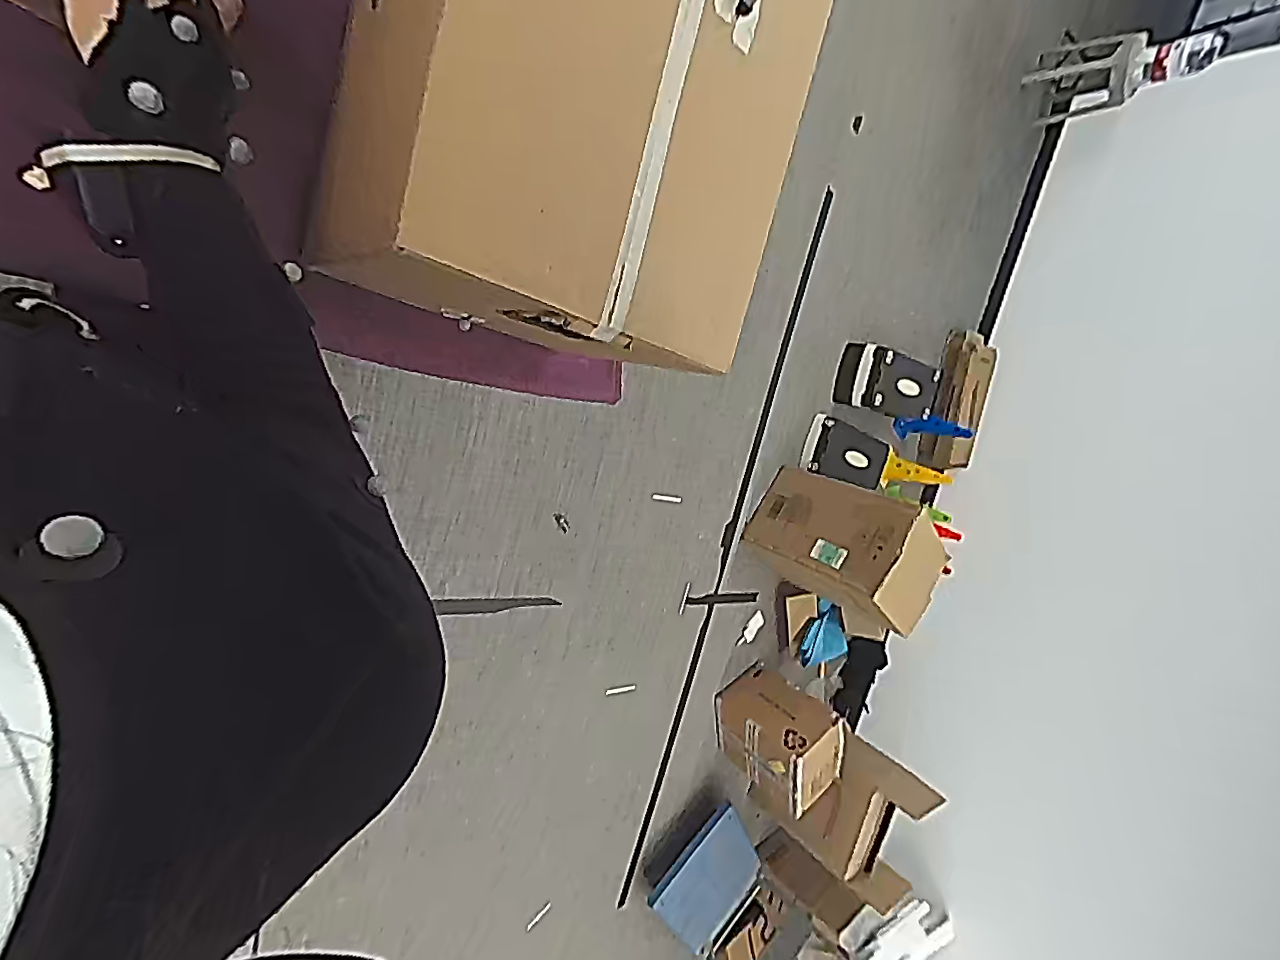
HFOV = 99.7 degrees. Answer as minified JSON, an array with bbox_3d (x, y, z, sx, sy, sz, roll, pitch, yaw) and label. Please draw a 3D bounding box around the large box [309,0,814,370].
[{"bbox_3d":[-0.084,-0.343,0.507,0.320,0.320,0.408,9,98,-43],"label":"large box"}]
